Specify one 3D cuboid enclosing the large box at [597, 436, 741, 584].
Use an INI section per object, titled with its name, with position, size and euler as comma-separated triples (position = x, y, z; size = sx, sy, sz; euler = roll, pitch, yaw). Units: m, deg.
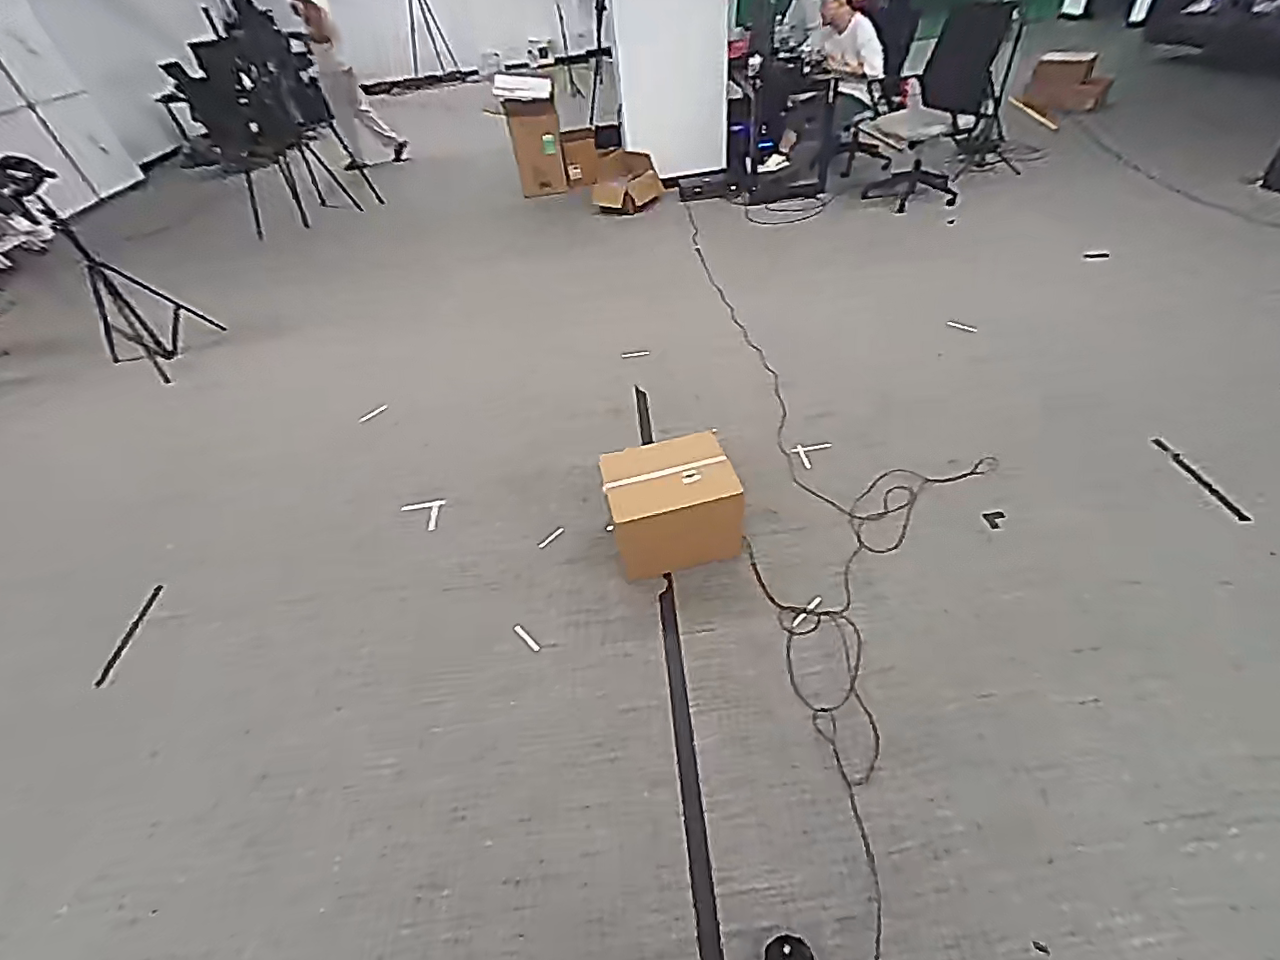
[large box]
position = 0.094, 0.100, 1.818
size = 0.408, 0.320, 0.320
euler = -13, 44, -5
